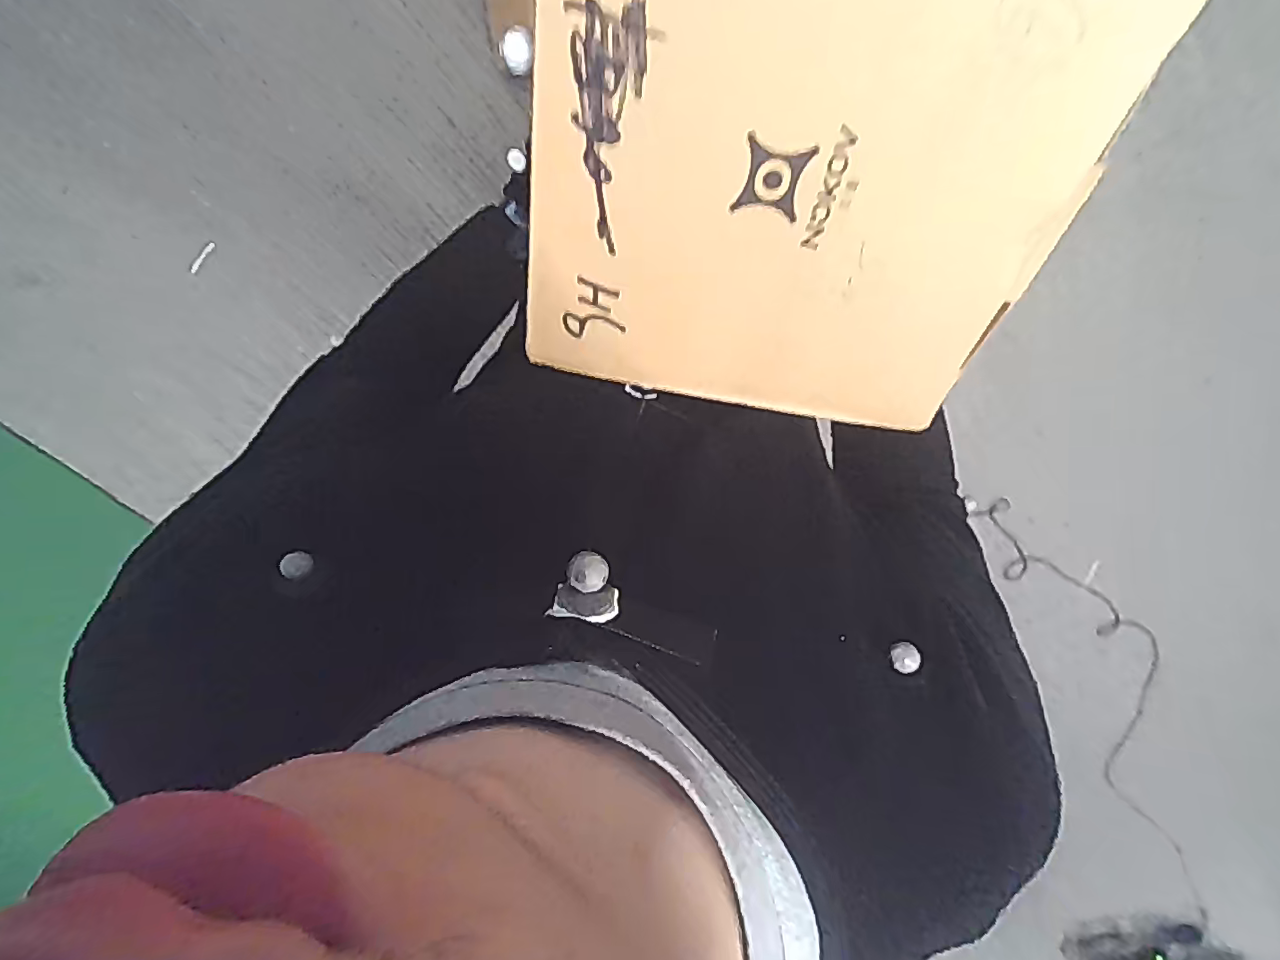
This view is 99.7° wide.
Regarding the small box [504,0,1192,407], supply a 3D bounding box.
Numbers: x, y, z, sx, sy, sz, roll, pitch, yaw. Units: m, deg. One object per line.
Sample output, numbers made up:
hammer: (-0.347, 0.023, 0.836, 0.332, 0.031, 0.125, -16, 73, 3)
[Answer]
small box: (0.052, -0.155, 0.221, 0.179, 0.176, 0.168, 10, 130, -4)
